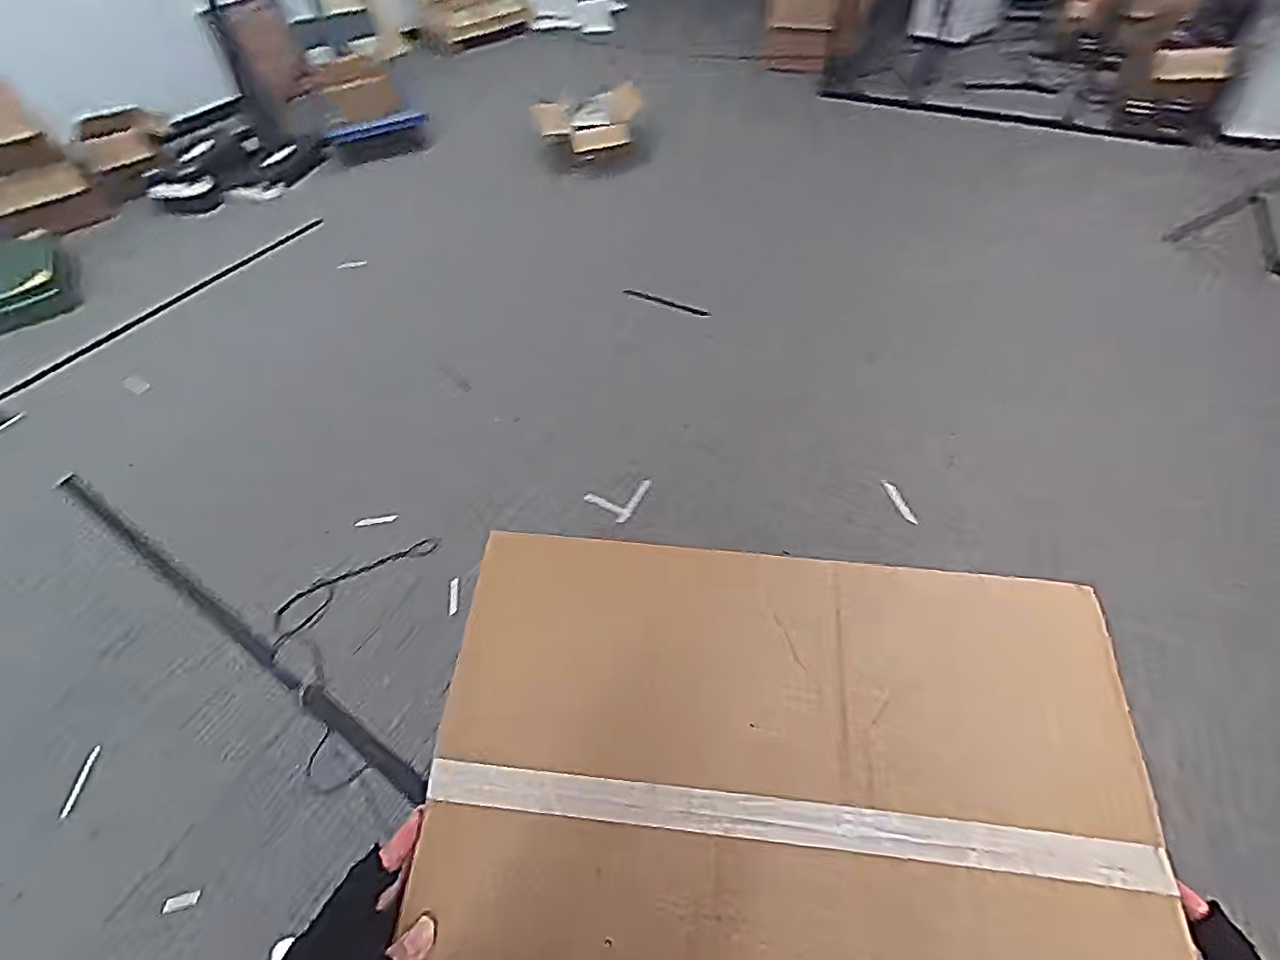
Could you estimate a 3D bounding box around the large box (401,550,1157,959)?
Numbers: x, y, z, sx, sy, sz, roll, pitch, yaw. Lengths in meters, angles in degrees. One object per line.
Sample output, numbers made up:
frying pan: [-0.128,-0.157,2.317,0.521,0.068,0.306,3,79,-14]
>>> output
large box: [0.078,0.263,0.448,0.408,0.320,0.320,3,65,4]
